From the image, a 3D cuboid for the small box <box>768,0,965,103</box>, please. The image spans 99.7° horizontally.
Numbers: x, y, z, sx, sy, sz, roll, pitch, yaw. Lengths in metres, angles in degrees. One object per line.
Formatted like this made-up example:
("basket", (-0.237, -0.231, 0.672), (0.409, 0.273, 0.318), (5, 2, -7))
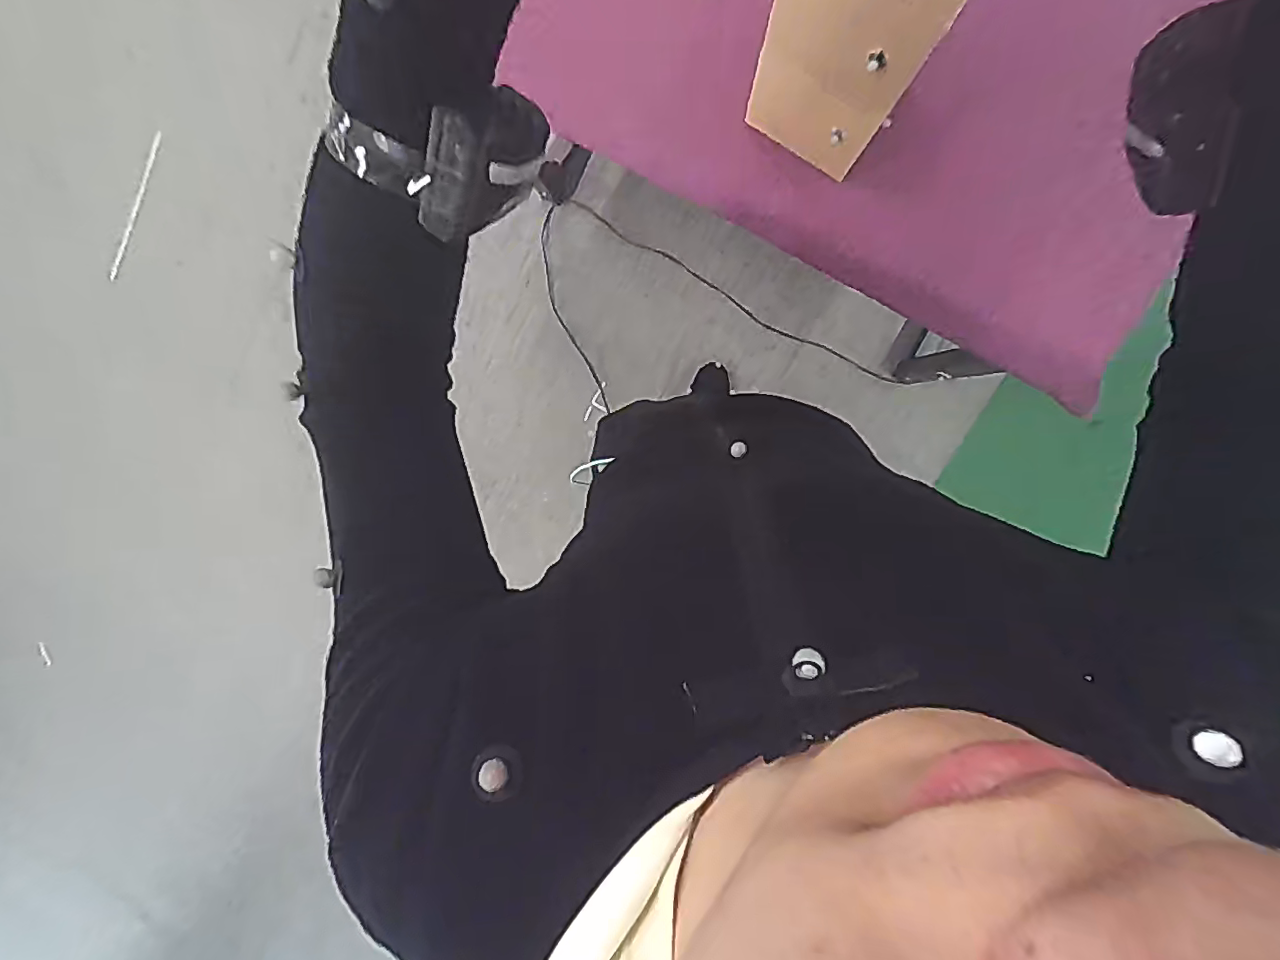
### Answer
("small box", (0.258, -0.541, 0.562), (0.179, 0.176, 0.168), (33, 98, 0))
